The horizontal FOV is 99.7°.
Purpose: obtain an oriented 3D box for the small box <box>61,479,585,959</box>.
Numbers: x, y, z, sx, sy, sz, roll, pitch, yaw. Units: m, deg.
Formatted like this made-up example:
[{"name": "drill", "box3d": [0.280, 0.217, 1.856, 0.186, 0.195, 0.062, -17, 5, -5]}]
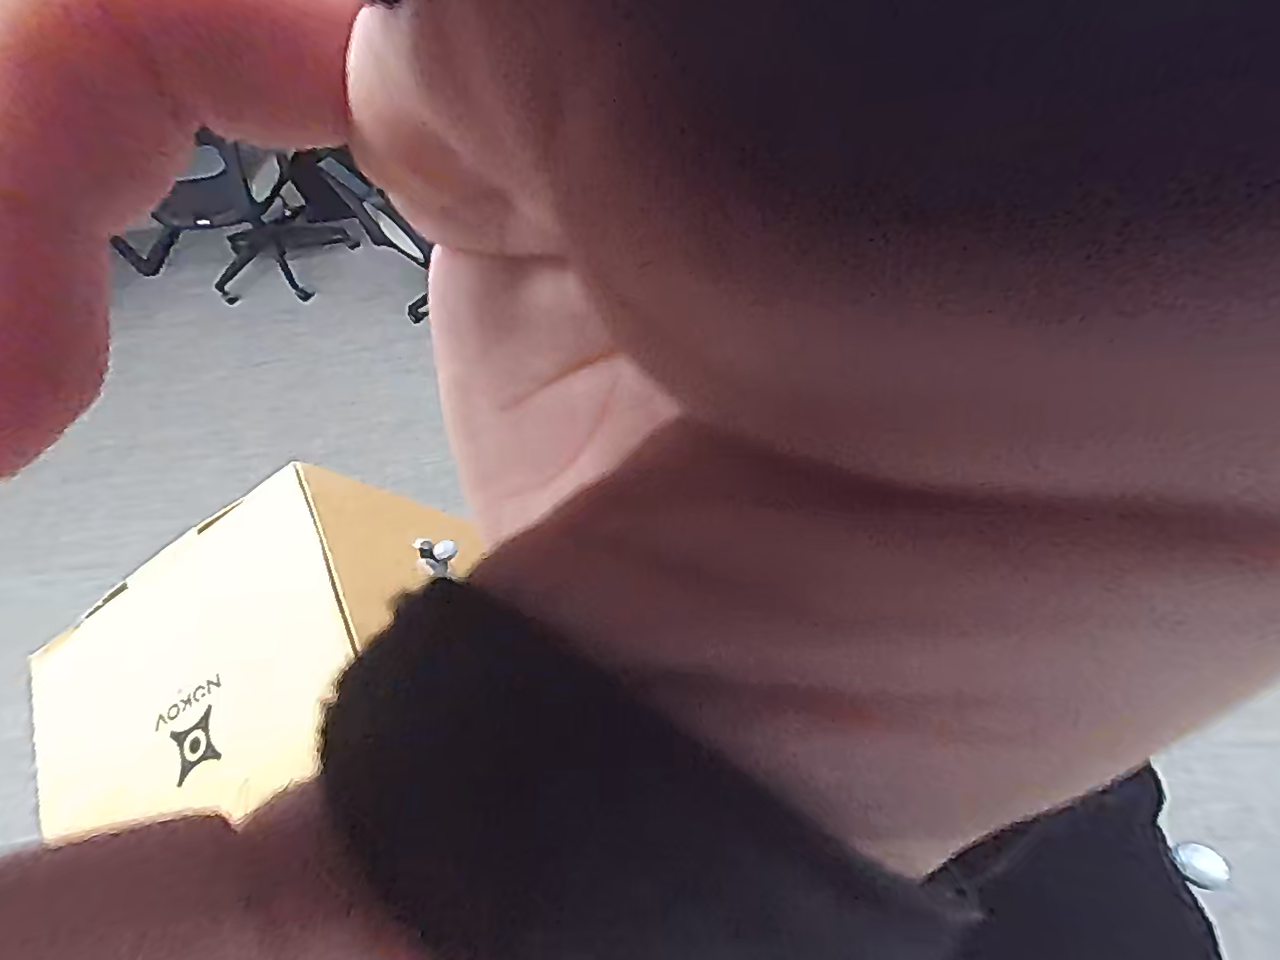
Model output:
[{"name": "small box", "box3d": [-0.159, 0.132, 0.307, 0.168, 0.176, 0.179, -34, 68, 4]}]
